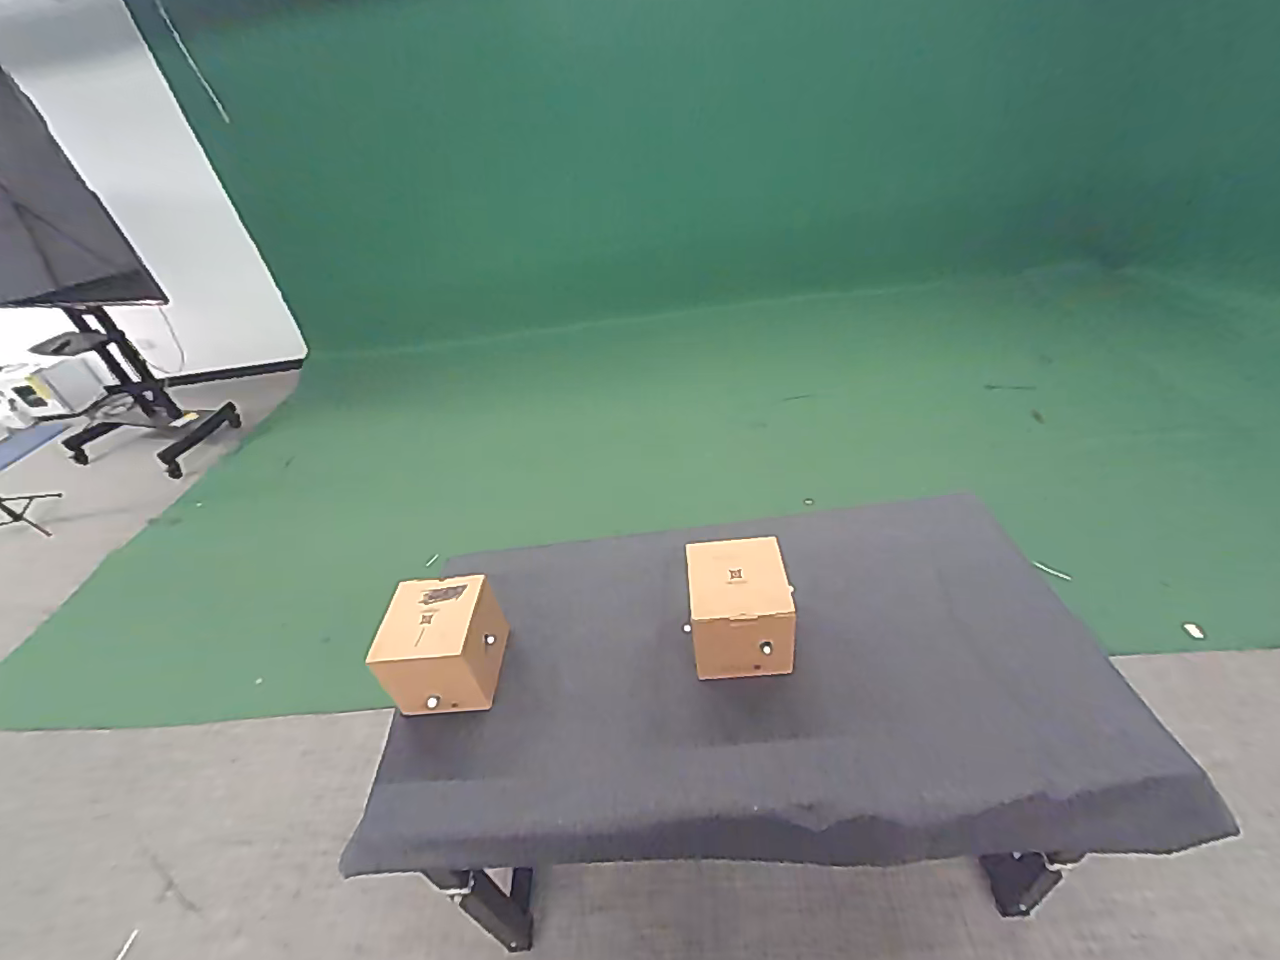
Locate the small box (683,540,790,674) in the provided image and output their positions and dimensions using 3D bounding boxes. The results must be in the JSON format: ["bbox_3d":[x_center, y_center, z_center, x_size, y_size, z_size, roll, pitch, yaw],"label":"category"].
[{"bbox_3d":[0.170,0.234,0.975,0.168,0.176,0.179,-5,37,4],"label":"small box"}]

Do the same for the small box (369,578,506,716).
[{"bbox_3d":[-0.356,0.305,0.991,0.168,0.176,0.179,-6,38,4],"label":"small box"}]
